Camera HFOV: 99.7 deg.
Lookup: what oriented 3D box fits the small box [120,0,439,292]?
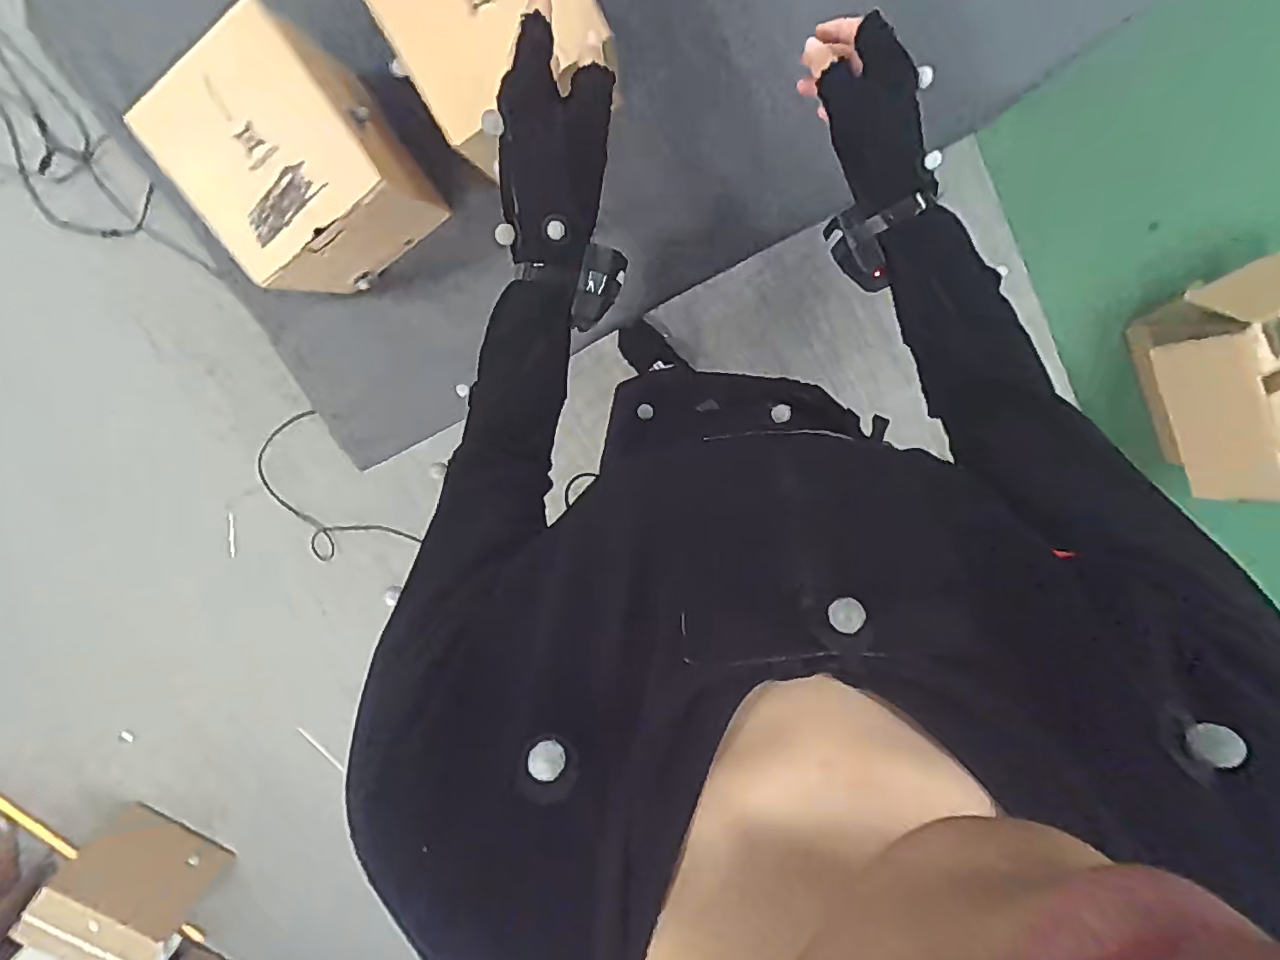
[{"bbox_3d":[-0.345,-0.316,0.559,0.168,0.176,0.179,-32,102,11],"label":"small box"}]
